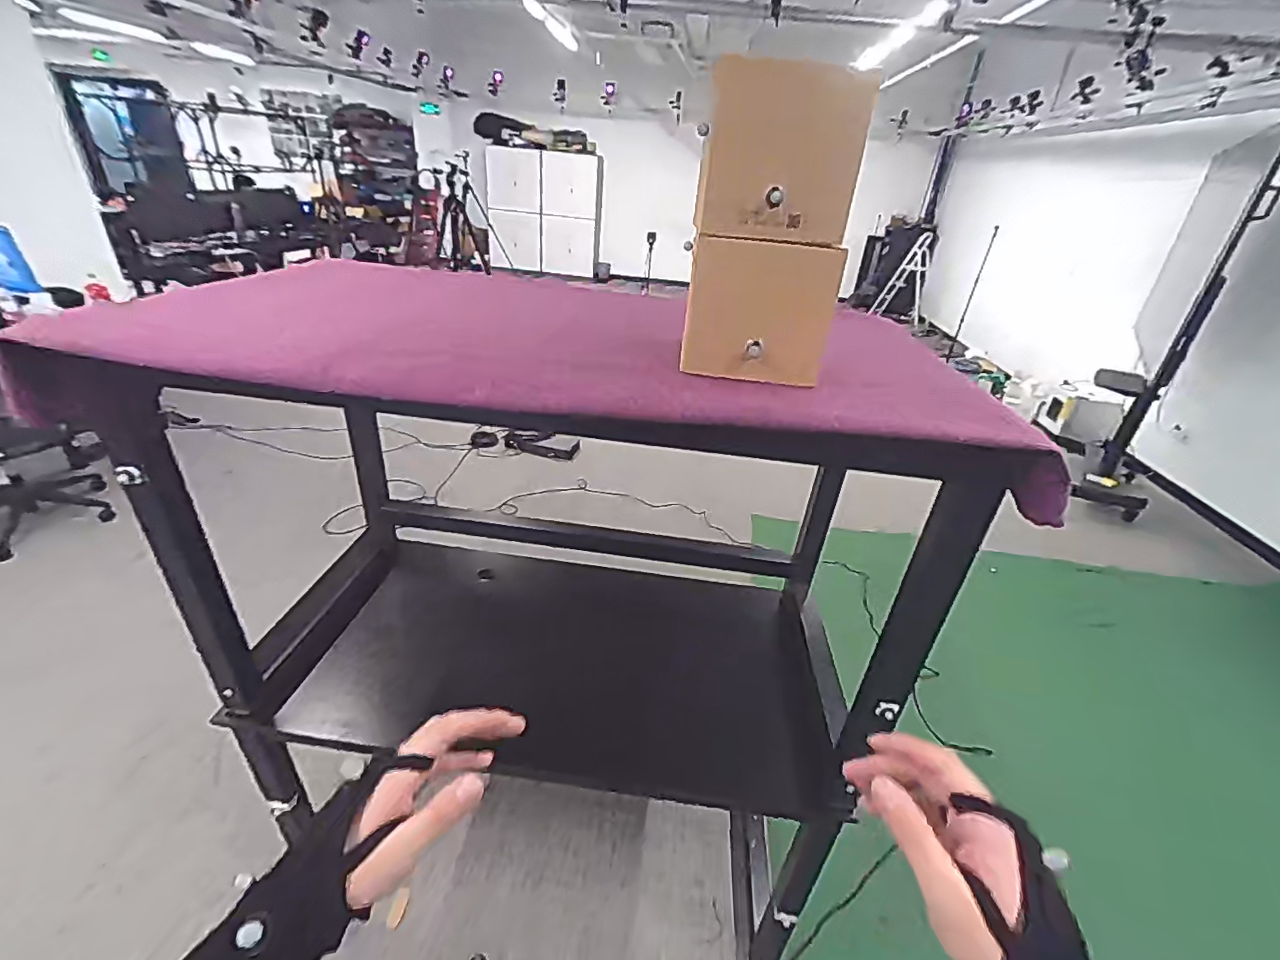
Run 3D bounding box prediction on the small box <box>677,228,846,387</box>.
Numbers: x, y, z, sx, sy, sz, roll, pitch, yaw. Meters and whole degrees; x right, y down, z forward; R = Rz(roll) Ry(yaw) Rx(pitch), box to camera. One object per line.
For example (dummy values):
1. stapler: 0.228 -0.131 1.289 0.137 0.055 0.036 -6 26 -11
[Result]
1. small box: 0.149 -0.231 0.721 0.179 0.176 0.168 7 28 3
